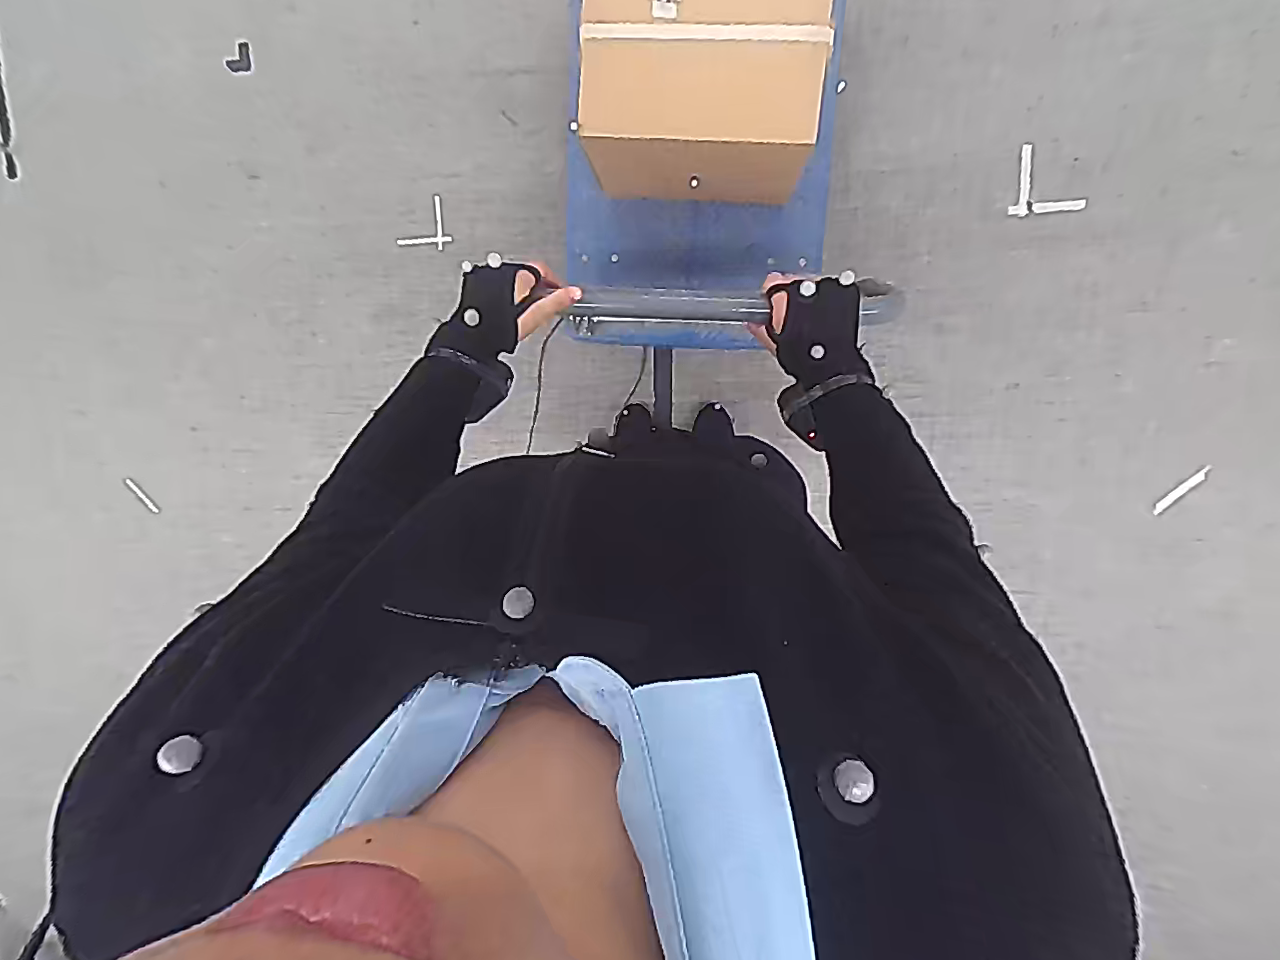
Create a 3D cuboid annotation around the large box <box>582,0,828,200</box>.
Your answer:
[{"bbox_3d":[0.121,-0.756,1.044,0.408,0.320,0.320,5,99,5],"label":"large box"}]
